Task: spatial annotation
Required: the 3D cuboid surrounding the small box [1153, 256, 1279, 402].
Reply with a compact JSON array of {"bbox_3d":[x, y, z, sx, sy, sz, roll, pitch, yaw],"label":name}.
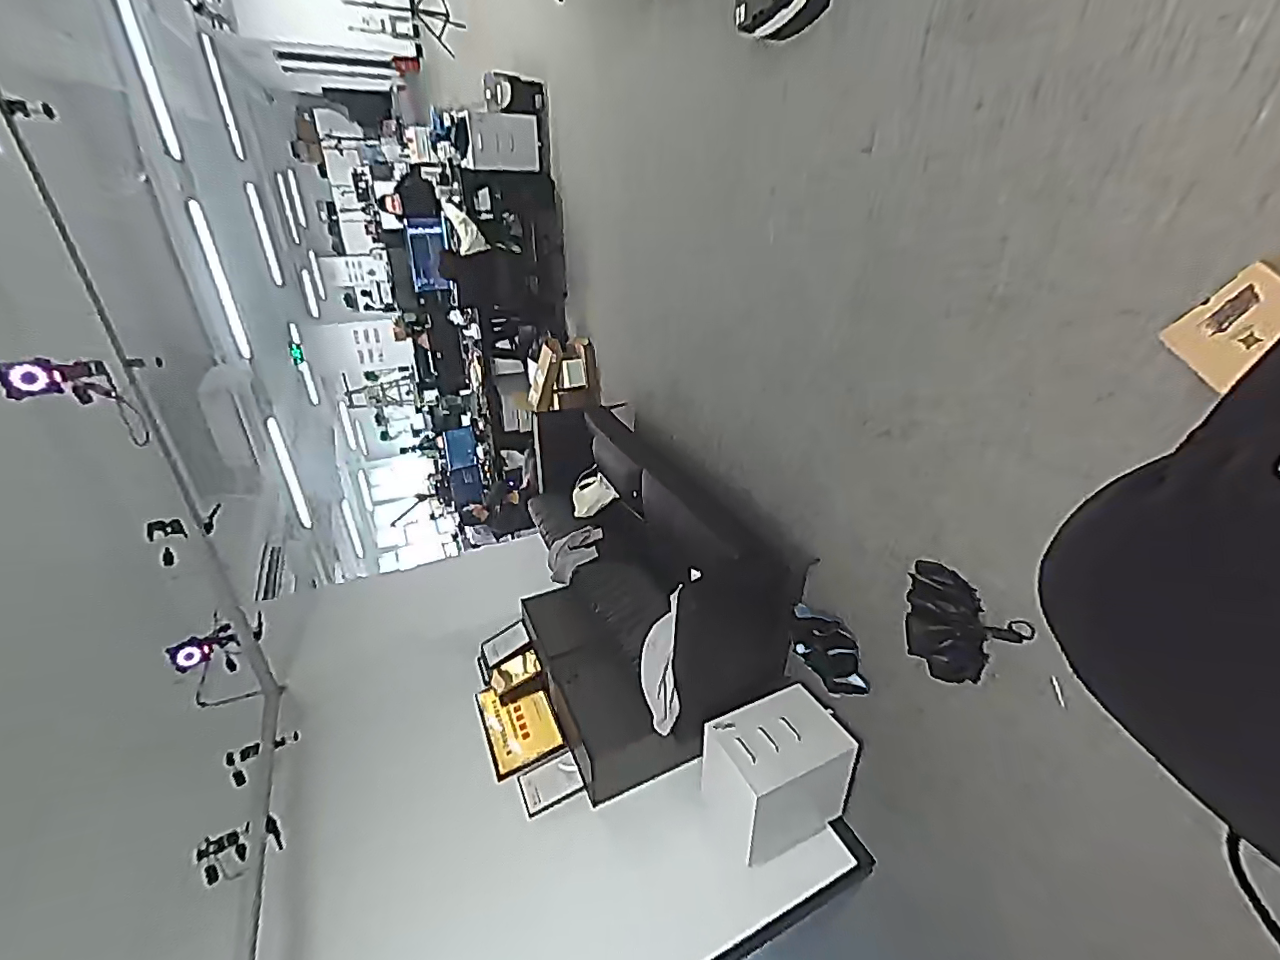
[{"bbox_3d":[1.060,-0.261,0.921,0.179,0.176,0.168,64,155,24],"label":"small box"}]
